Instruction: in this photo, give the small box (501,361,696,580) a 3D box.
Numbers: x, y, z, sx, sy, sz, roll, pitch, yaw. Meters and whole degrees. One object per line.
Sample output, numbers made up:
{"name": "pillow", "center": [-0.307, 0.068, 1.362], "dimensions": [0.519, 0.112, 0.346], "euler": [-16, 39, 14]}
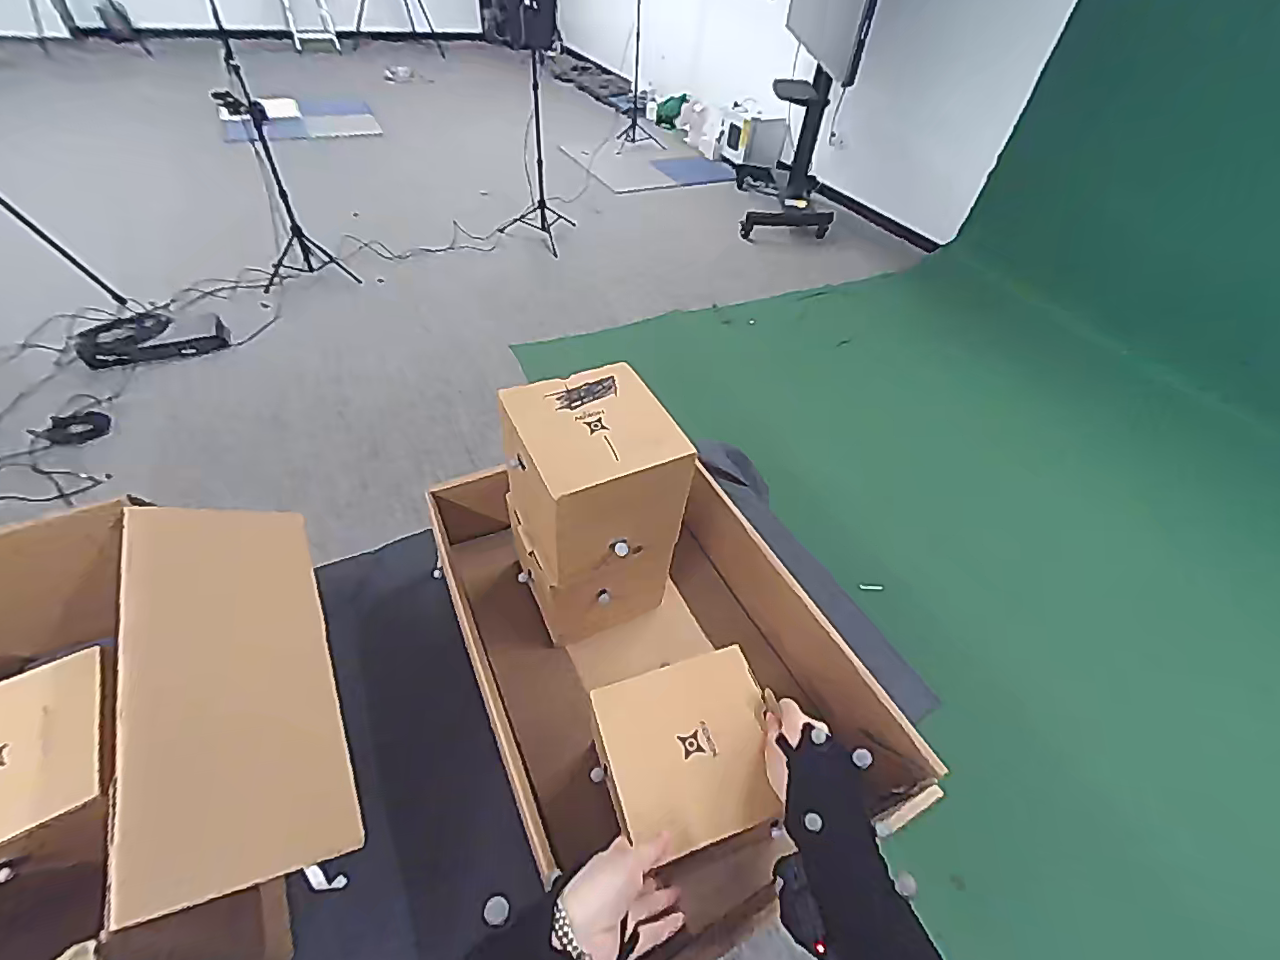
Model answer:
{"name": "small box", "center": [-0.058, -0.012, 0.653], "dimensions": [0.168, 0.176, 0.179], "euler": [-19, 54, -21]}
